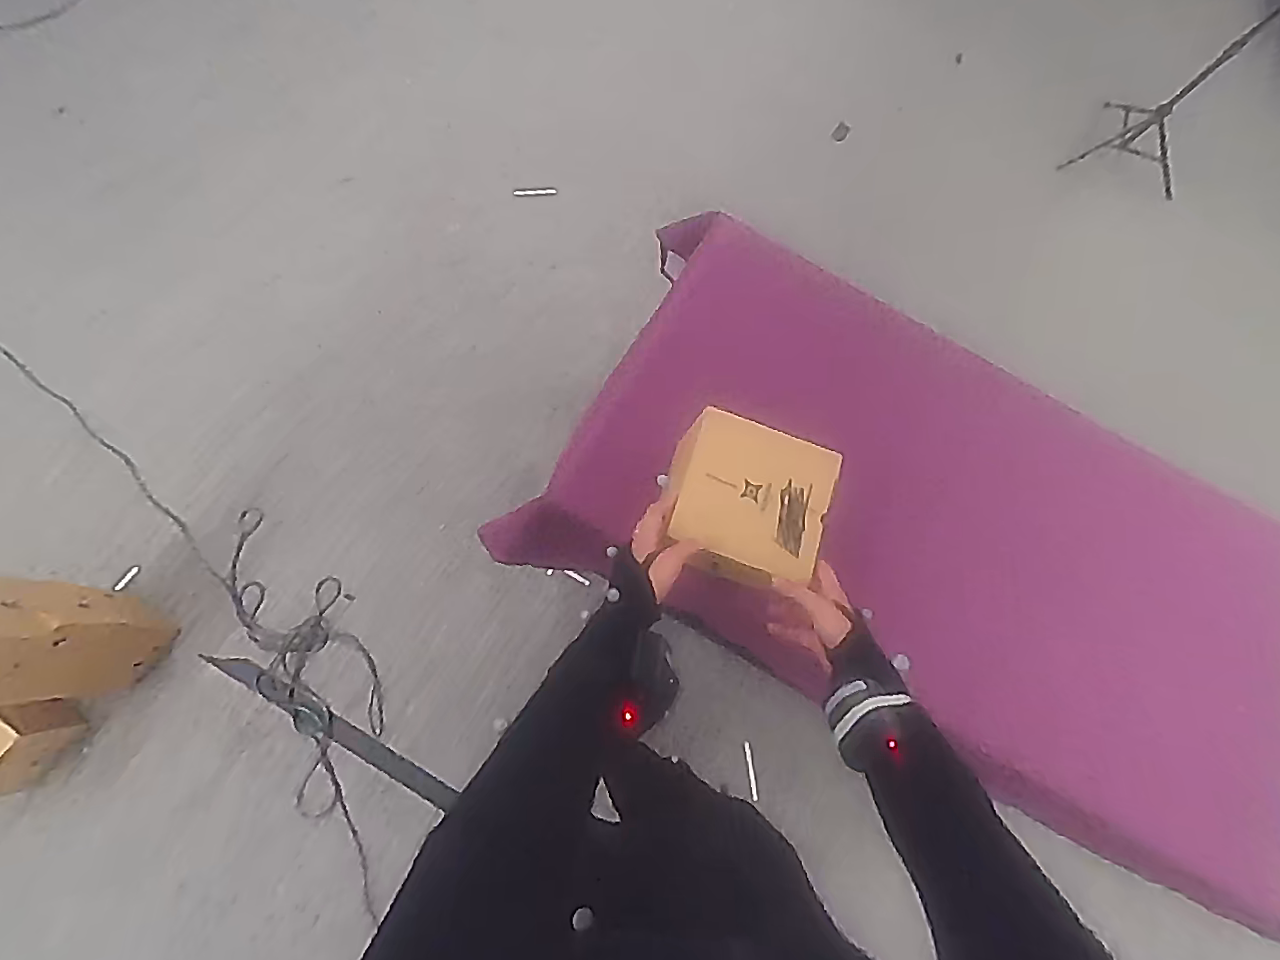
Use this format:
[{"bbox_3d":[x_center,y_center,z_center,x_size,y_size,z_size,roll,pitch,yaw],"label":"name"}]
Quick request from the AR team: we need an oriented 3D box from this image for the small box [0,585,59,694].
[{"bbox_3d":[-1.164,0.275,0.900,0.179,0.176,0.168,39,73,6],"label":"small box"}]

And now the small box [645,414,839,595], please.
[{"bbox_3d":[0.120,0.040,0.697,0.179,0.176,0.168,20,76,-3],"label":"small box"}]

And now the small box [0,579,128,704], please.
[{"bbox_3d":[-1.185,0.317,1.057,0.168,0.176,0.179,33,73,3],"label":"small box"}]

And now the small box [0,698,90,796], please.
[{"bbox_3d":[-1.349,0.548,1.135,0.179,0.176,0.168,36,73,3],"label":"small box"}]

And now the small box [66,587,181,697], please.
[{"bbox_3d":[-1.207,0.362,1.212,0.179,0.176,0.168,31,73,2],"label":"small box"}]
